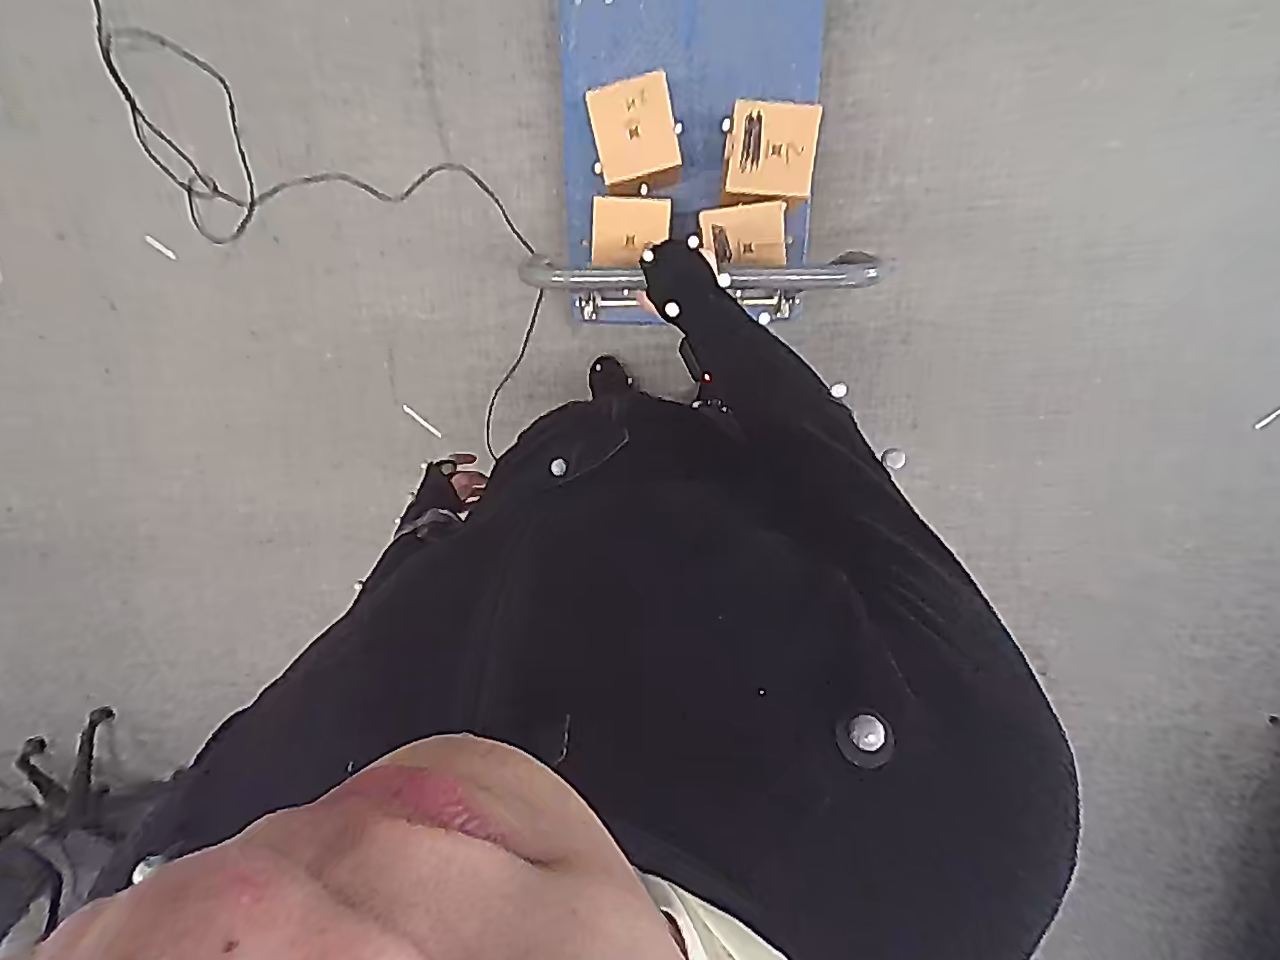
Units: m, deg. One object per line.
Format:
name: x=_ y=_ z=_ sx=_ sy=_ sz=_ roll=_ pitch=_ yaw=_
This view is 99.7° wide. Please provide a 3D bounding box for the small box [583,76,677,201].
small box: x=-0.014 y=-0.728 z=1.179 sx=0.168 sy=0.176 sz=0.179 roll=-12 pitch=104 yaw=6
